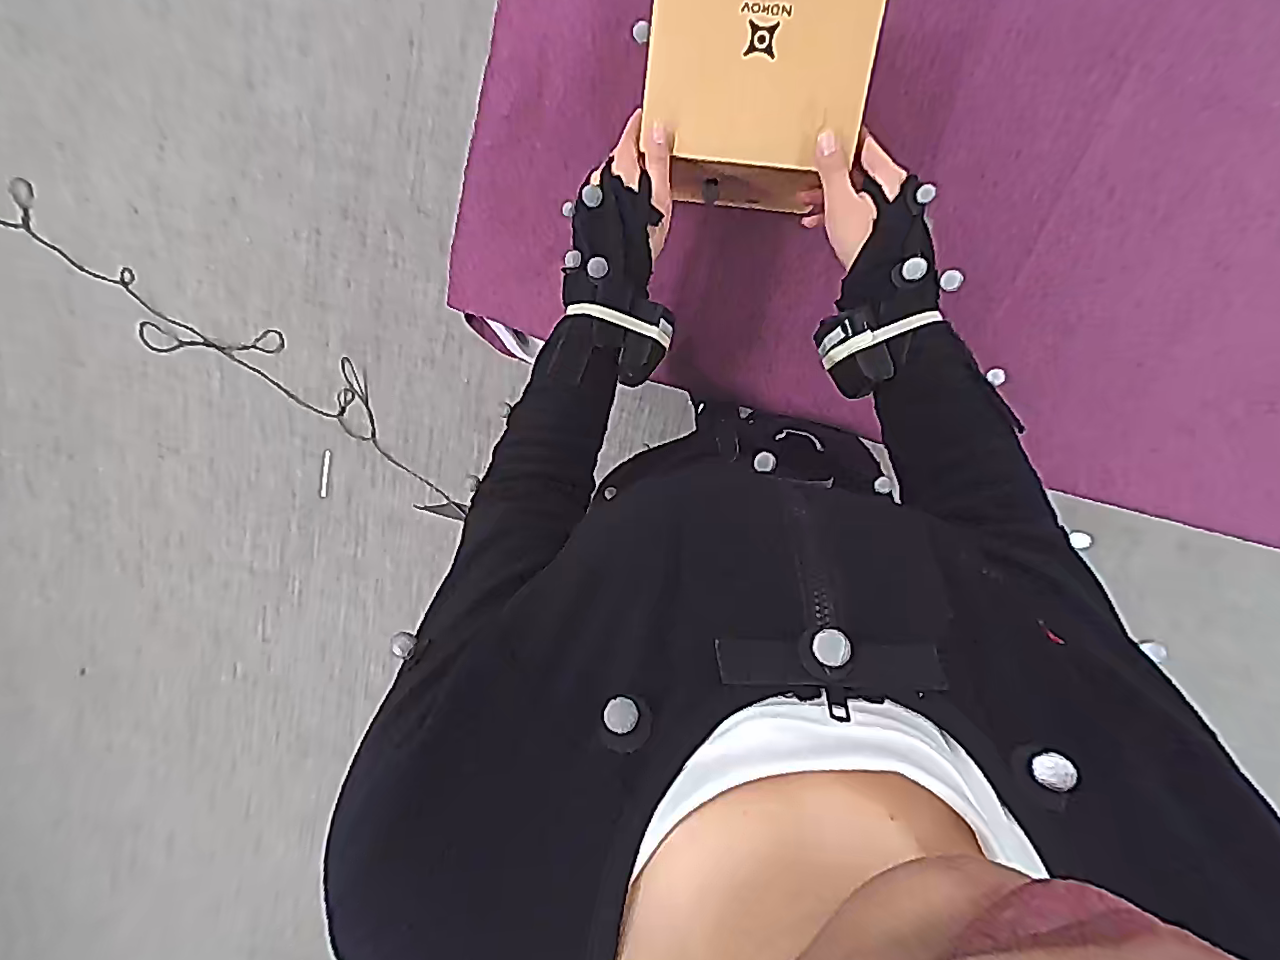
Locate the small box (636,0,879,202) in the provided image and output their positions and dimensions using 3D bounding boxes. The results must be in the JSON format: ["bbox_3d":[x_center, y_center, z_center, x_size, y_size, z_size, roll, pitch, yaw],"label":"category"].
[{"bbox_3d":[0.096,-0.355,0.466,0.168,0.176,0.179,8,106,4],"label":"small box"}]
